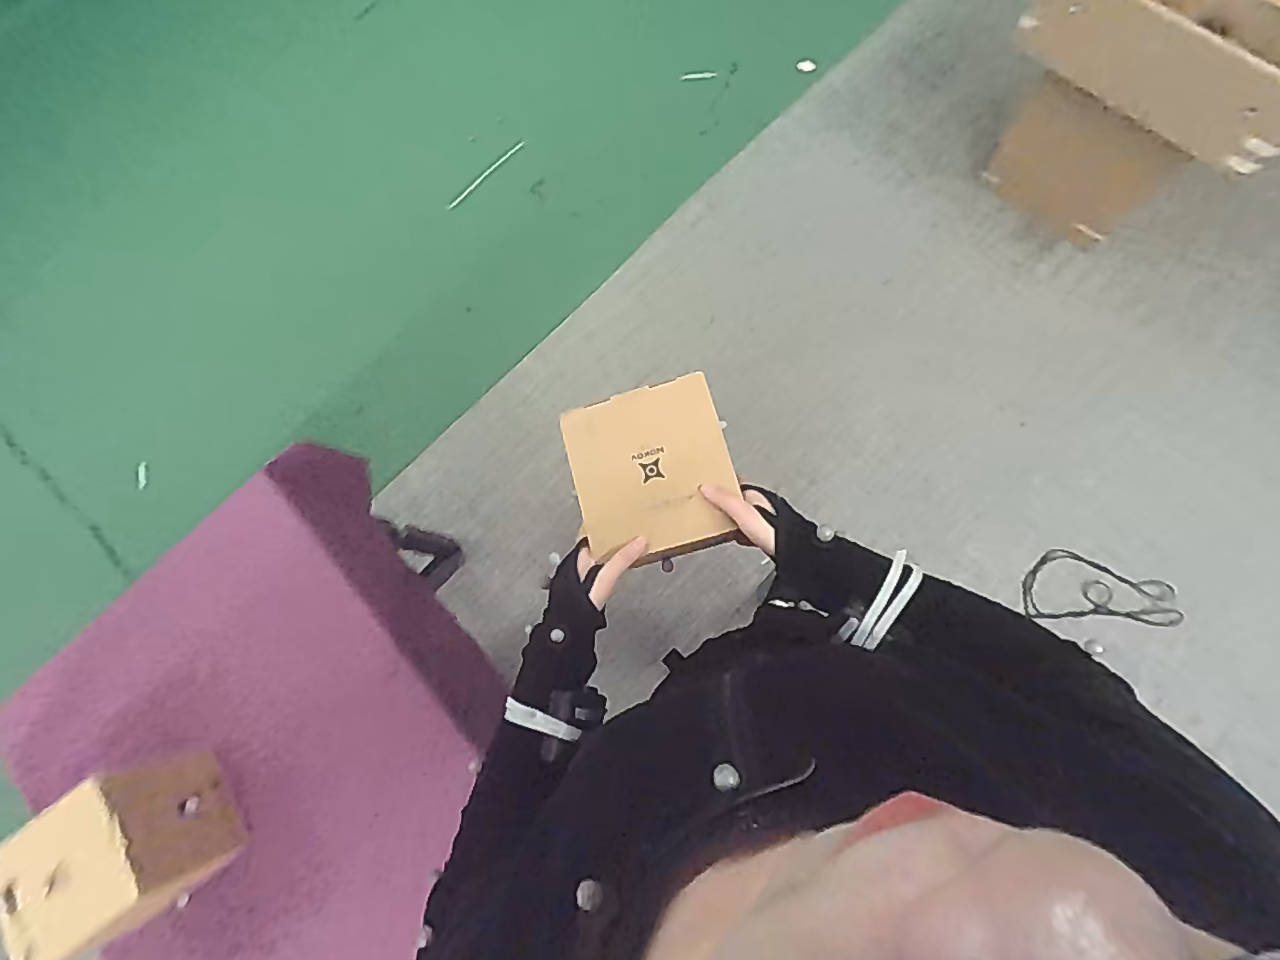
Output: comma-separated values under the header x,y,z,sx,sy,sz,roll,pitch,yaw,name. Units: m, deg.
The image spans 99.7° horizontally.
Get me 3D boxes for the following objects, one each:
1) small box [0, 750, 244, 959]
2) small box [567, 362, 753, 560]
x,y,z,sx,sy,sz,roll,pitch,yaw,name
-0.697,0.507,0.746,0.179,0.176,0.168,-37,73,-3,small box
0.027,-0.010,0.639,0.168,0.176,0.179,-15,78,6,small box
